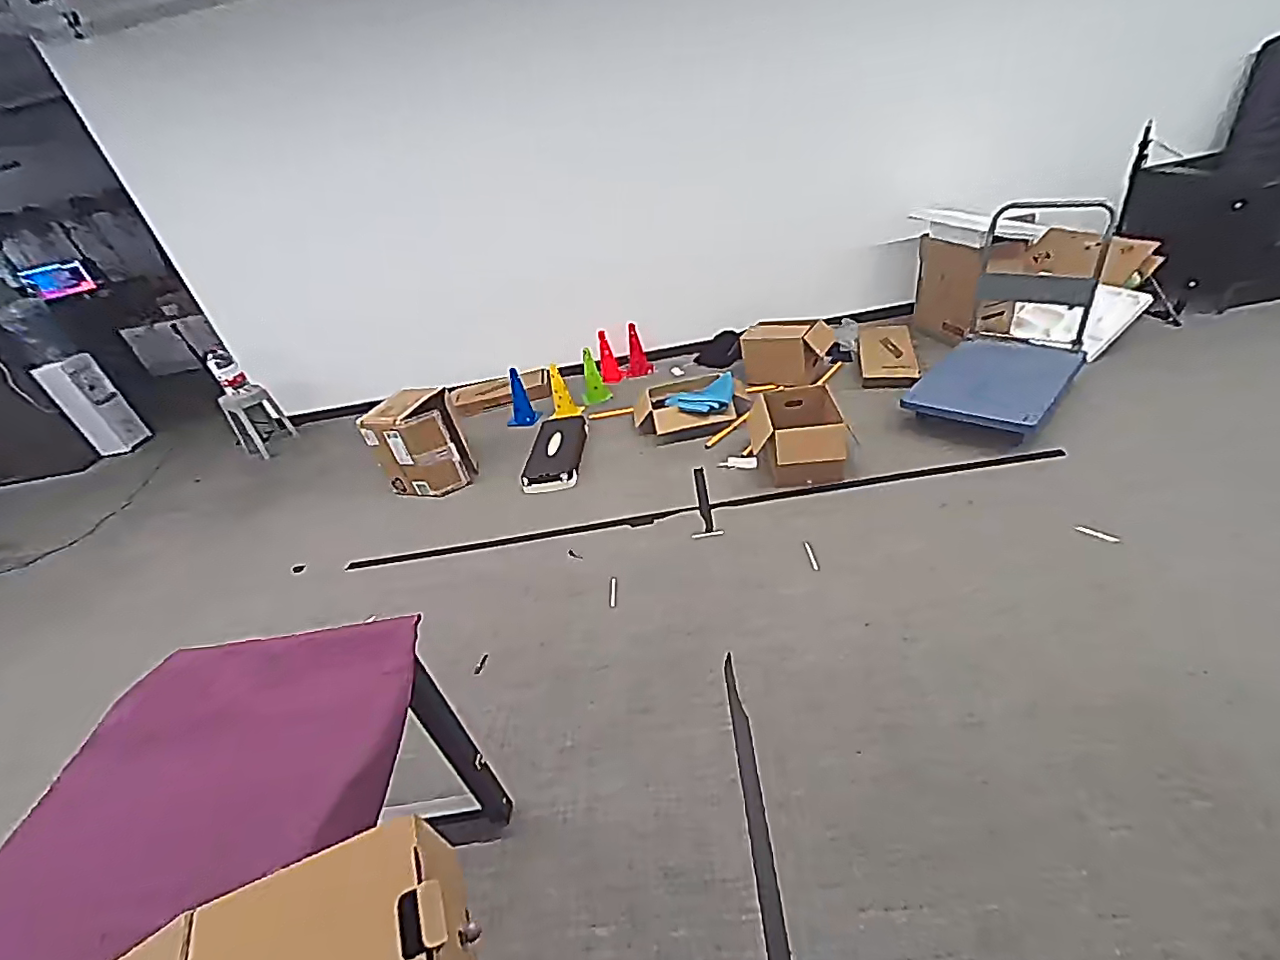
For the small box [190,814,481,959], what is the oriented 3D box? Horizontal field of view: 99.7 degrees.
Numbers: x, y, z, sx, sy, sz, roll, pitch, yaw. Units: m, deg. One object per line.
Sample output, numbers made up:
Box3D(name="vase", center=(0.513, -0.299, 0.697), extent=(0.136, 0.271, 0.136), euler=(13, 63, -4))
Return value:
Box3D(name="small box", center=(-0.244, 0.431, 0.460), extent=(0.179, 0.176, 0.168), euler=(-18, 46, -16))
